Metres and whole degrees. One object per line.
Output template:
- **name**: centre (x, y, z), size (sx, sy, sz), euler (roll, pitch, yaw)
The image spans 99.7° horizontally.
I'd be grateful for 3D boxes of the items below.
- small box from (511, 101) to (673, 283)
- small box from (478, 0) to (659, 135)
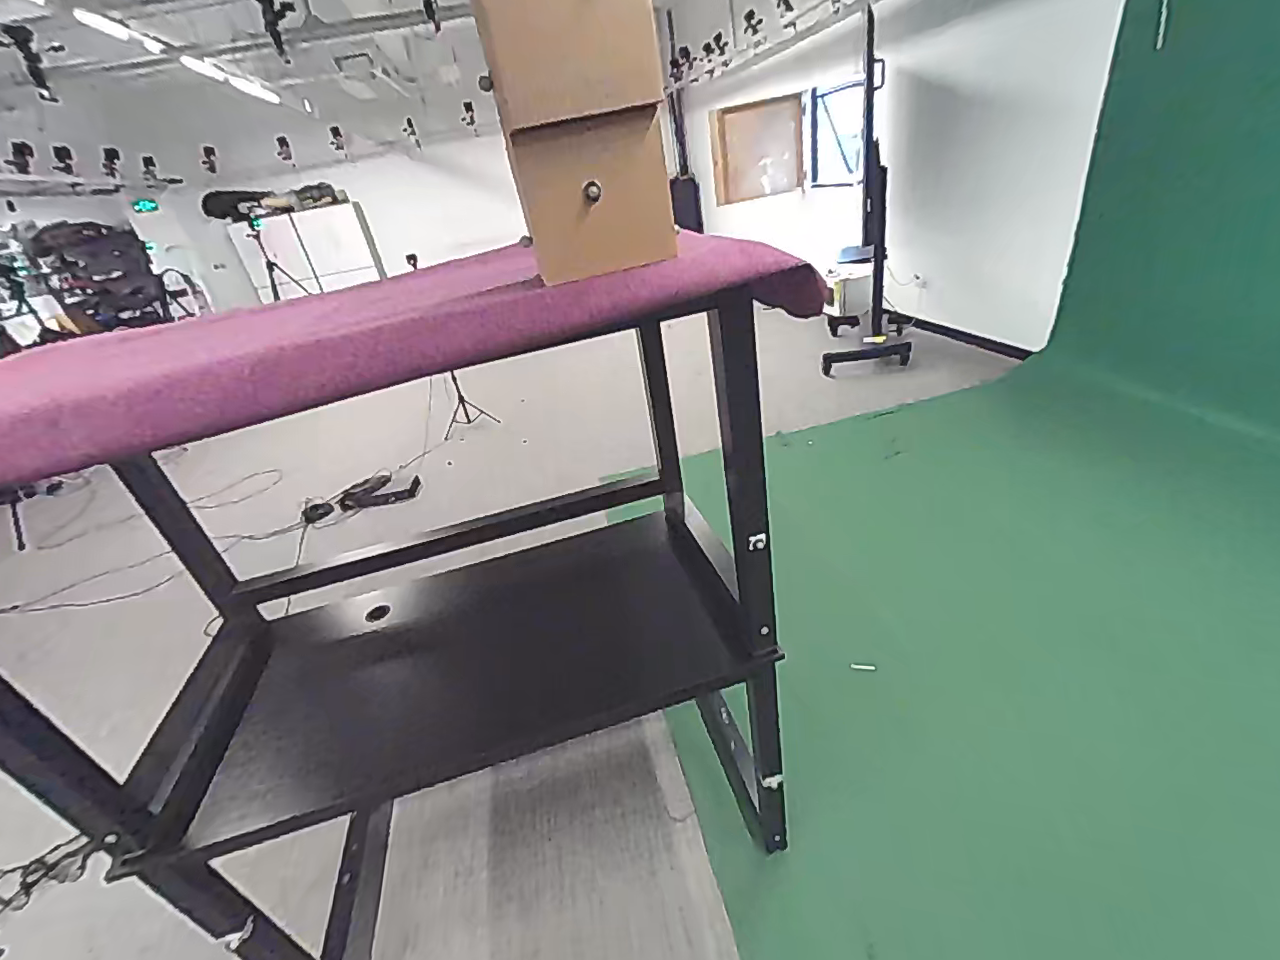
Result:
- **small box**: centre (-0.061, -0.372, 0.710), size (0.179, 0.176, 0.168), euler (-16, 30, -6)
- **small box**: centre (-0.083, -0.504, 0.611), size (0.179, 0.176, 0.168), euler (-16, 29, -6)
